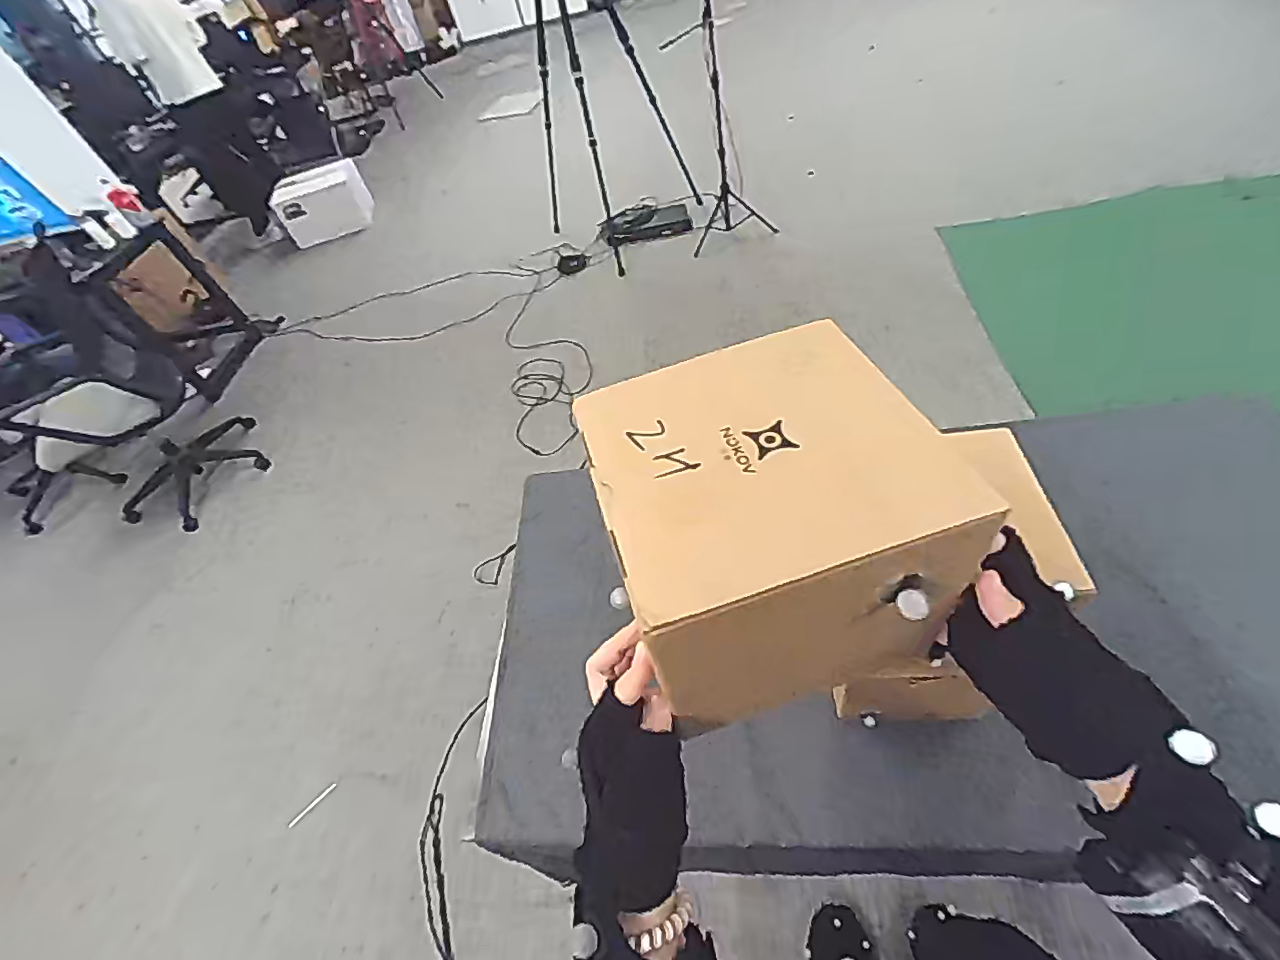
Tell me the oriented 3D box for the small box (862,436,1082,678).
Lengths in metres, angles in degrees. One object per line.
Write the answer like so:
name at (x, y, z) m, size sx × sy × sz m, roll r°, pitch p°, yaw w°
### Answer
small box at (0.280, 0.081, 0.543) m, size 0.168 × 0.176 × 0.179 m, roll -6°, pitch 50°, yaw 10°

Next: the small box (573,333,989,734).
small box at (0.072, 0.039, 0.354) m, size 0.179 × 0.176 × 0.168 m, roll -18°, pitch 49°, yaw -3°

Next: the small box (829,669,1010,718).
small box at (0.313, 0.183, 0.665) m, size 0.168 × 0.176 × 0.179 m, roll -6°, pitch 49°, yaw 10°
